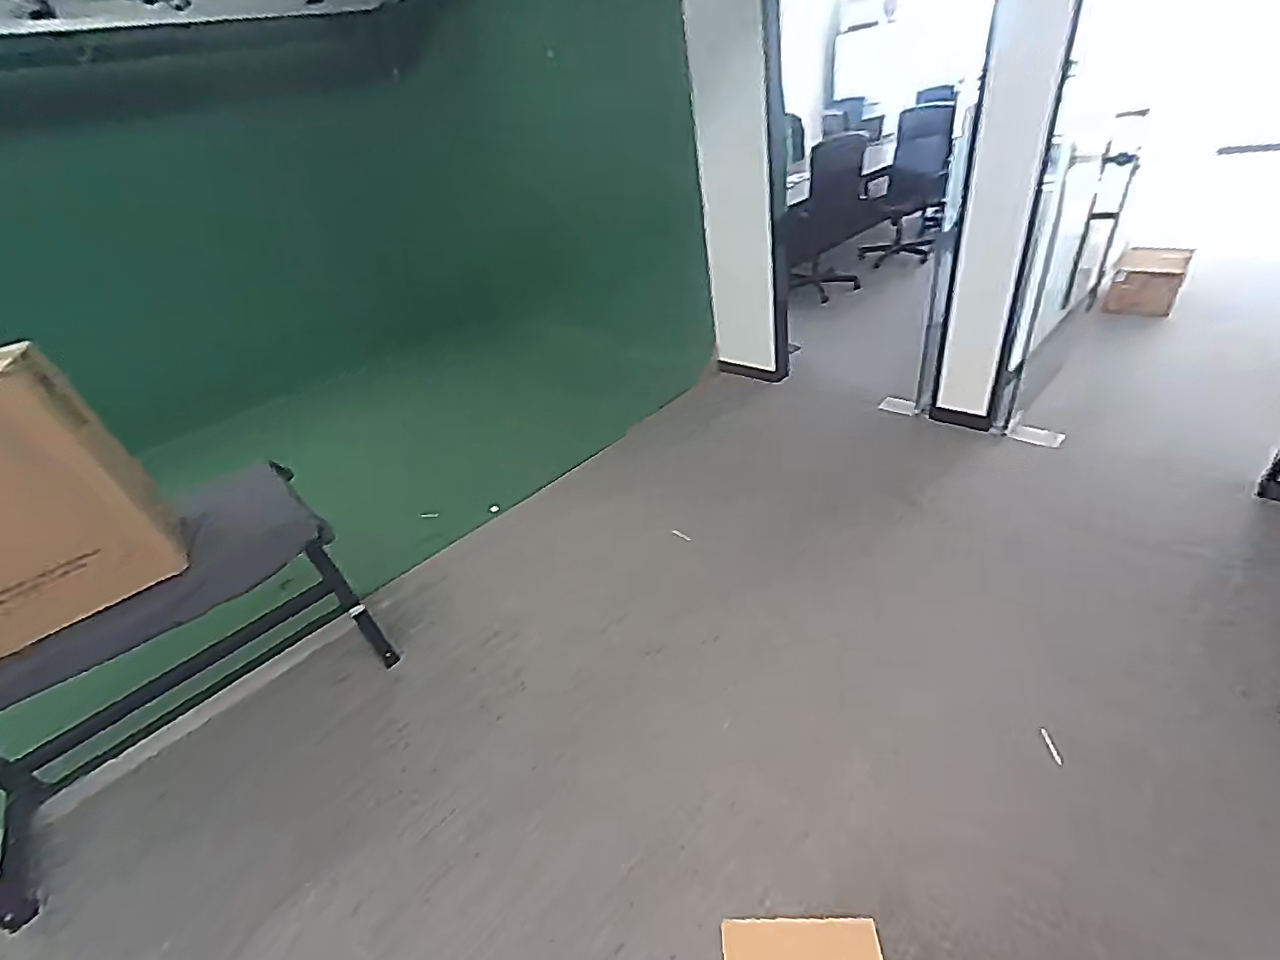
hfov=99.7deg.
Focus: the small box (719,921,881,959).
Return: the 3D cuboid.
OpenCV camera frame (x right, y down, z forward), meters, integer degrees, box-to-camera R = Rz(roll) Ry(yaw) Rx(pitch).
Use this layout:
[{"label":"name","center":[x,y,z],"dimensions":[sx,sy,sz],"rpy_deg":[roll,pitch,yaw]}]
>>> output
[{"label":"small box","center":[0.187,0.620,0.596],"dimensions":[0.179,0.176,0.168],"rpy_deg":[-7,32,7]}]
